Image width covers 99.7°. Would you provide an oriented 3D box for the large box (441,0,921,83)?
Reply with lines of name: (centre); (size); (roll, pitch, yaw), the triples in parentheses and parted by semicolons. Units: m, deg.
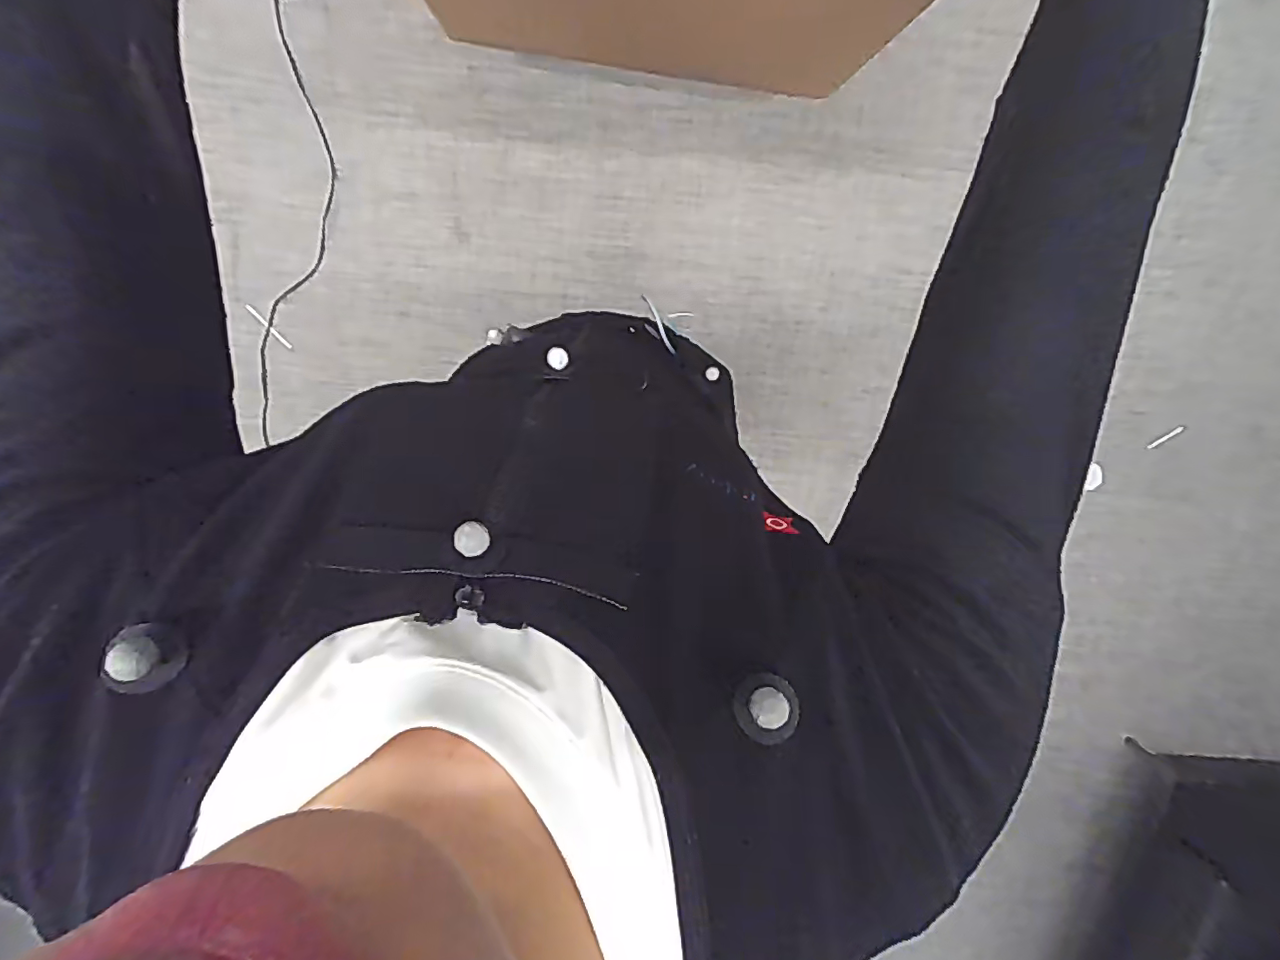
large box: (0.032, -0.531, 0.379); (0.408, 0.320, 0.320); (5, 111, -5)
